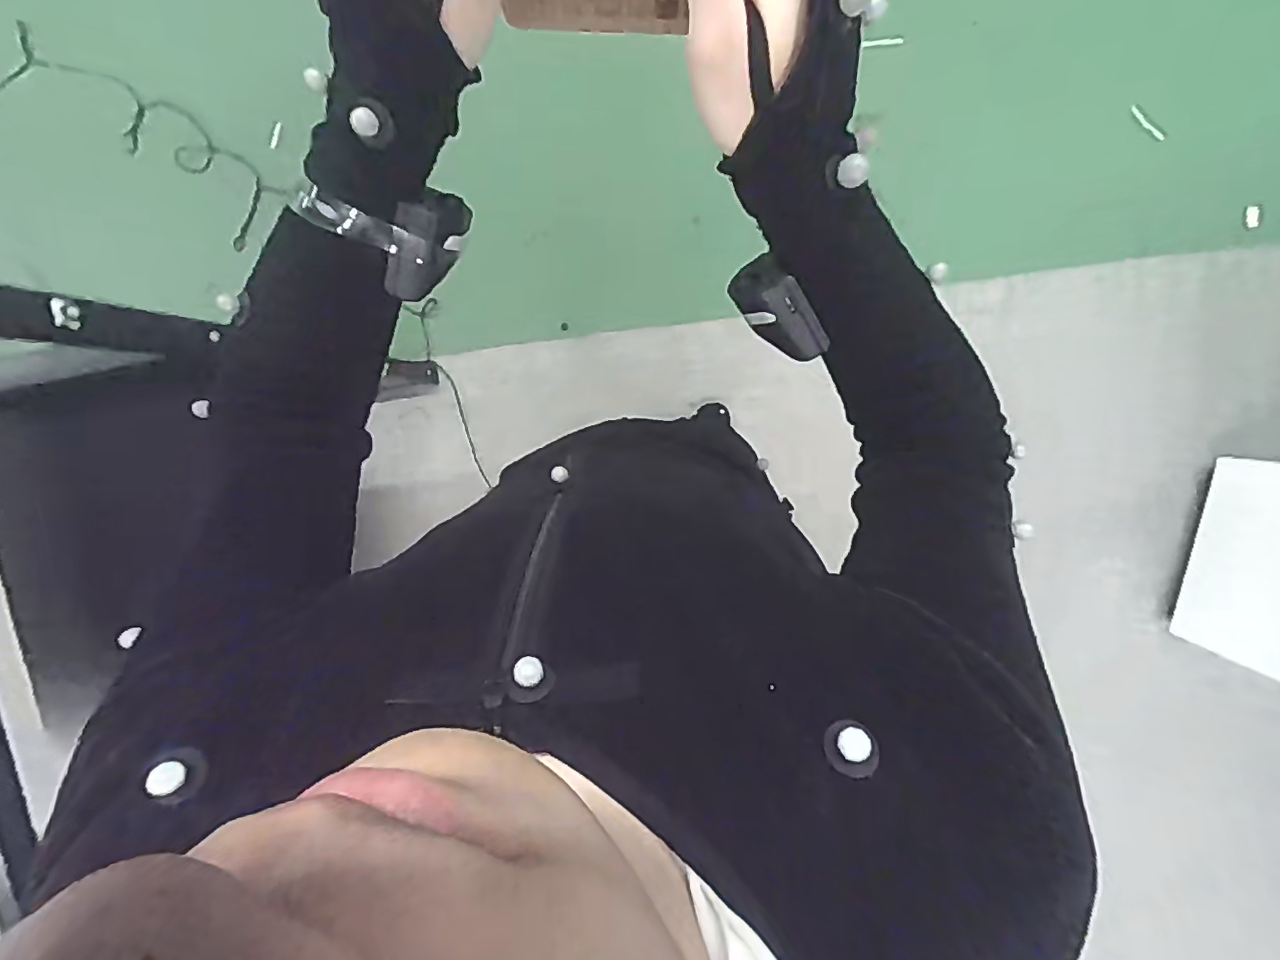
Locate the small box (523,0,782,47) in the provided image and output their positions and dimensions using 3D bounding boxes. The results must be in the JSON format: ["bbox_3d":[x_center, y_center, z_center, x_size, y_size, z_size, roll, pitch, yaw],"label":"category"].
[{"bbox_3d":[0.007,-0.361,0.256,0.168,0.176,0.179,5,94,3],"label":"small box"}]
